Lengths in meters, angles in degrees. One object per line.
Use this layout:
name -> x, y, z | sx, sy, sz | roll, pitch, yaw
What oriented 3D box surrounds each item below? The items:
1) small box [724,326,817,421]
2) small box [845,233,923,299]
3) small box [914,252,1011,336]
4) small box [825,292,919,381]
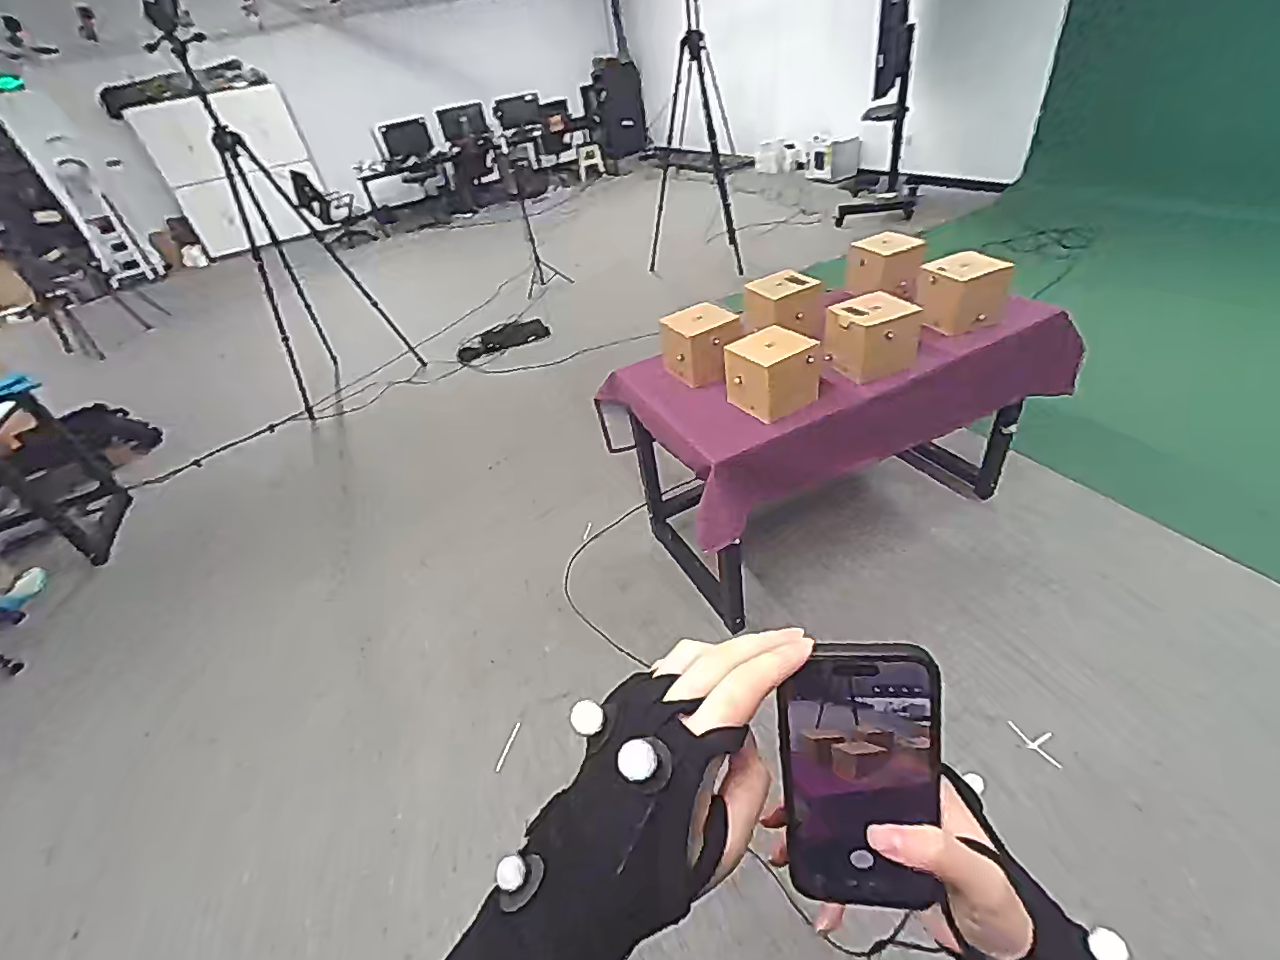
small box -> 0.341, -0.278, 1.412 | 0.179, 0.176, 0.168 | -26, 40, -20
small box -> 0.817, -0.718, 1.834 | 0.168, 0.176, 0.179 | -21, 40, -12
small box -> 0.939, -0.550, 1.598 | 0.179, 0.176, 0.168 | -19, 39, -9
small box -> 0.625, -0.391, 1.480 | 0.179, 0.176, 0.168 | -19, 39, -11
